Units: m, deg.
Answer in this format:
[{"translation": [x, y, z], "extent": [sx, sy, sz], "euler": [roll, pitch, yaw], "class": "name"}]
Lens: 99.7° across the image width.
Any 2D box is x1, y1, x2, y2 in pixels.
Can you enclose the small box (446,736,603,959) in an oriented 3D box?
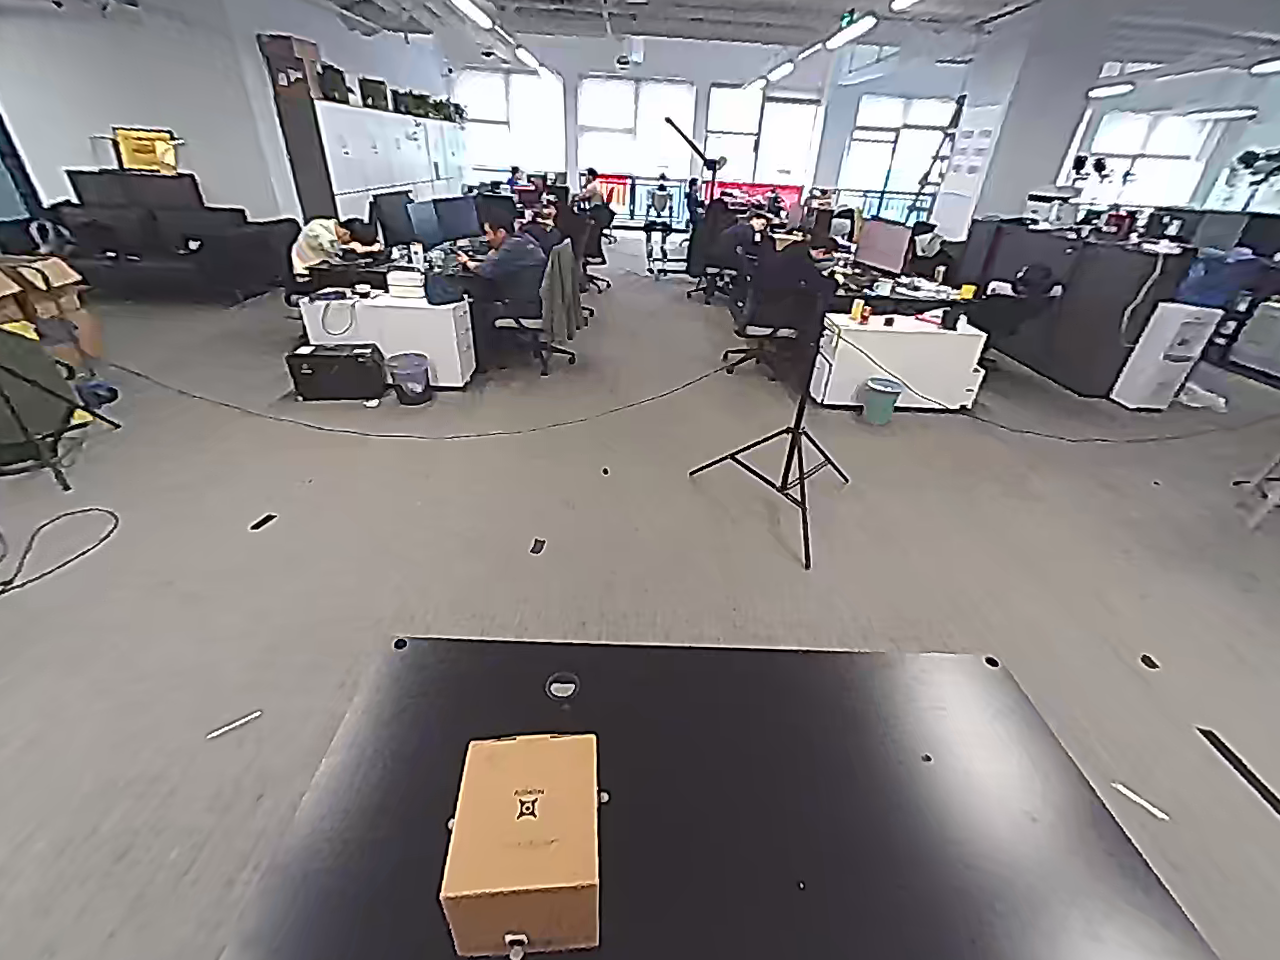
[{"translation": [-0.132, 0.454, 0.676], "extent": [0.168, 0.176, 0.179], "euler": [-2, 32, -6], "class": "small box"}]
